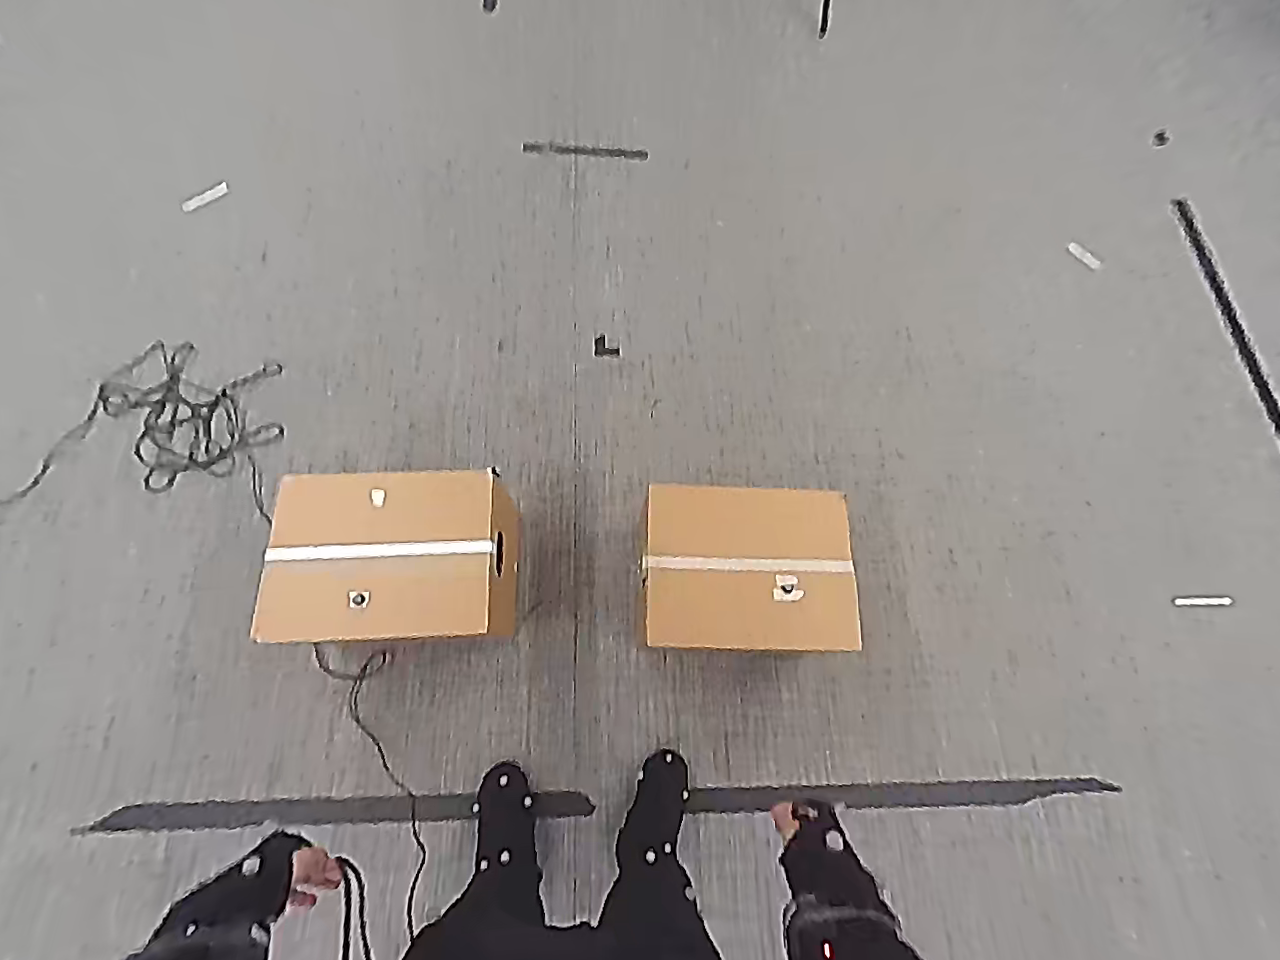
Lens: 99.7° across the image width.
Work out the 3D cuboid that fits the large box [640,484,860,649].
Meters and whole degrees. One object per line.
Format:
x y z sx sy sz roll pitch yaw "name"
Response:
0.208 0.207 1.192 0.408 0.320 0.320 3 72 -4 "large box"
